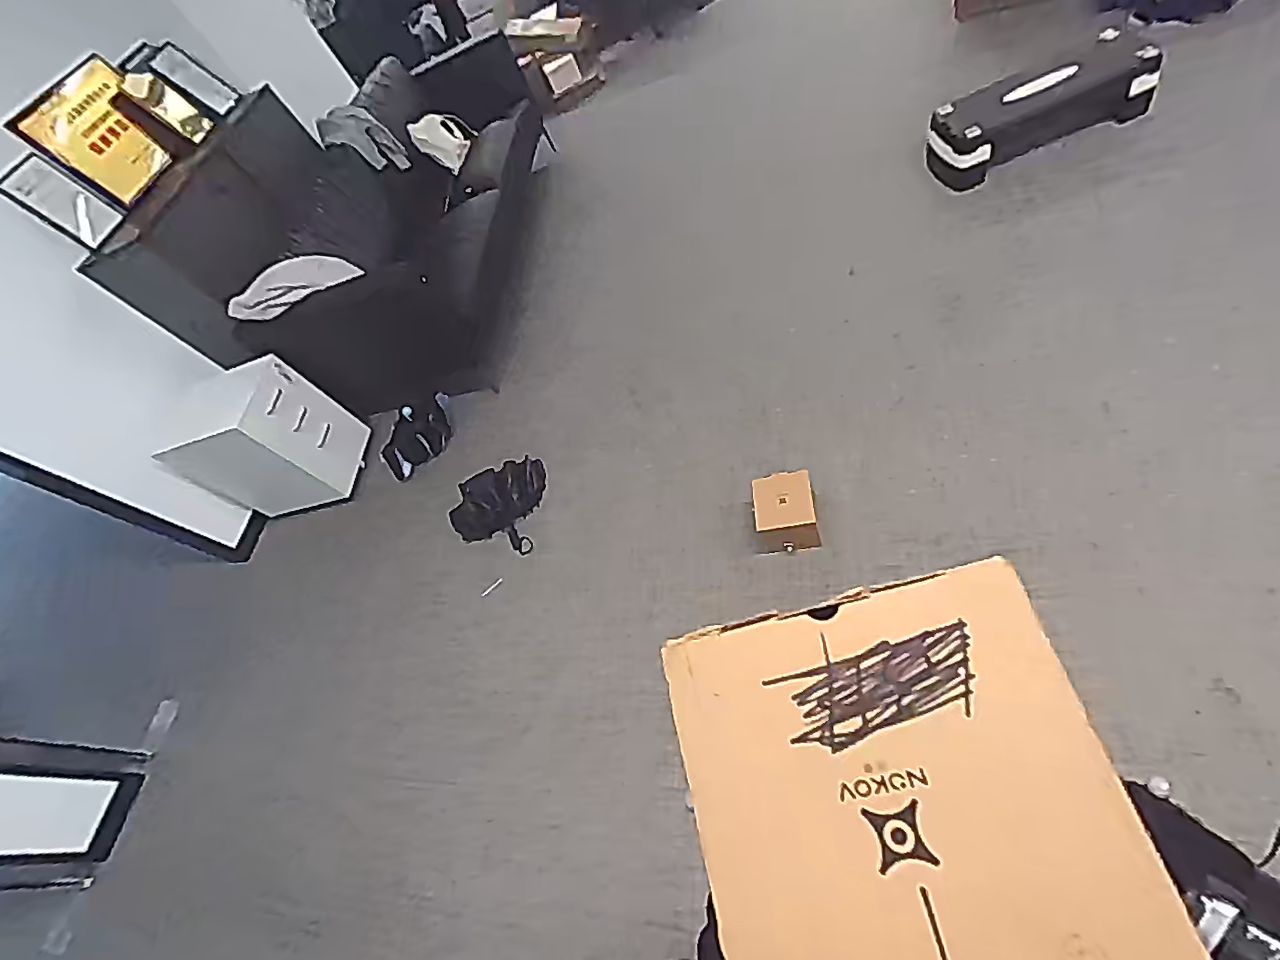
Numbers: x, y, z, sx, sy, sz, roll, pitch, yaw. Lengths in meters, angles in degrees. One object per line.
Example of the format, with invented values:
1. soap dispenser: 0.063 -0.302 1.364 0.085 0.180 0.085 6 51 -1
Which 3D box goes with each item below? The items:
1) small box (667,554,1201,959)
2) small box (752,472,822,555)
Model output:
1. small box: 0.126 0.161 0.298 0.168 0.176 0.179 -18 66 11
2. small box: 0.438 0.103 1.609 0.168 0.176 0.179 -13 56 20
